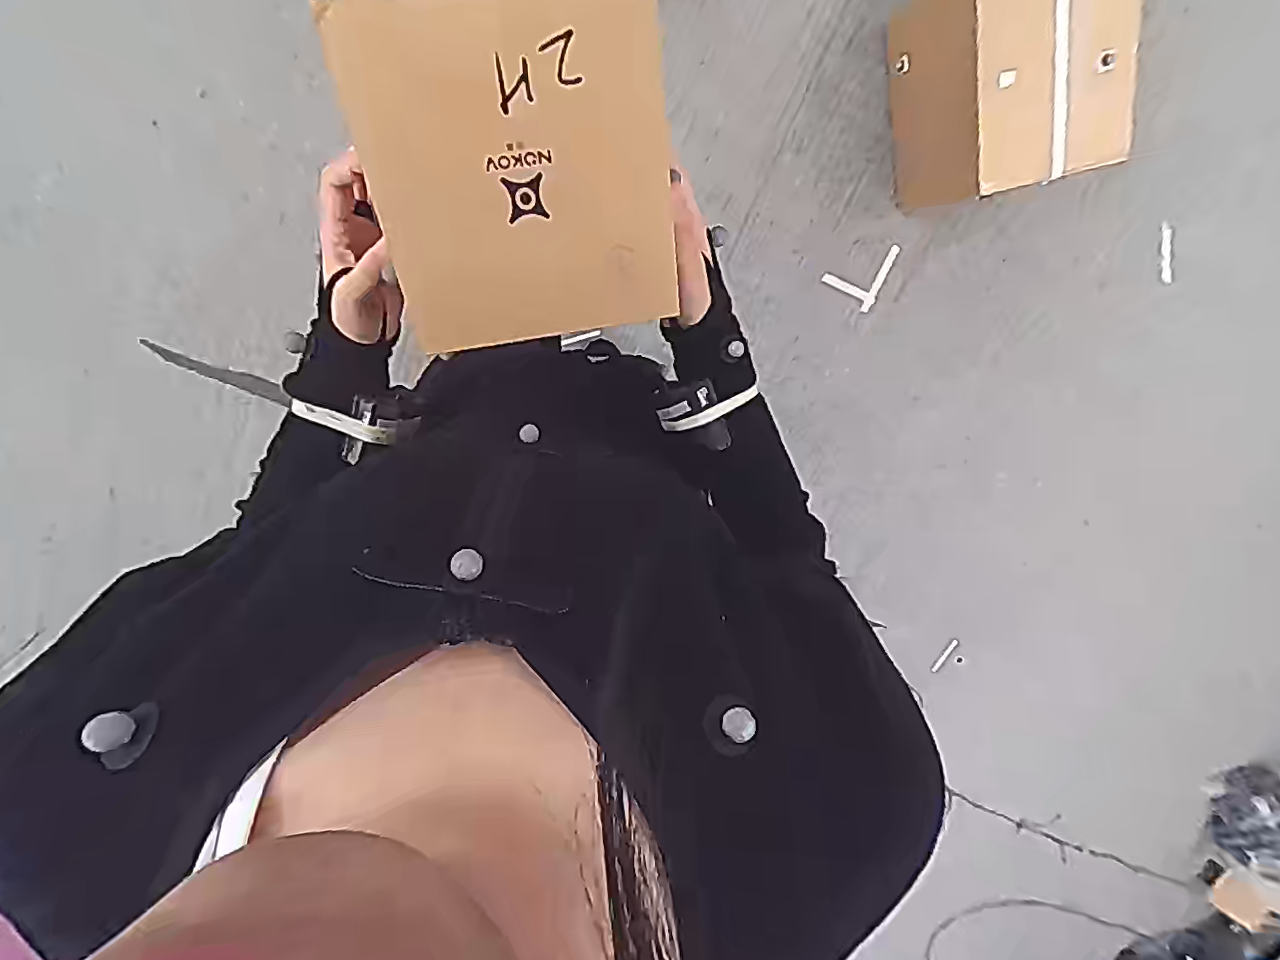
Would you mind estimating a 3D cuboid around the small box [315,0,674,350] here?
[{"bbox_3d":[-0.078,-0.208,0.370,0.168,0.176,0.179,-11,121,-6],"label":"small box"}]
